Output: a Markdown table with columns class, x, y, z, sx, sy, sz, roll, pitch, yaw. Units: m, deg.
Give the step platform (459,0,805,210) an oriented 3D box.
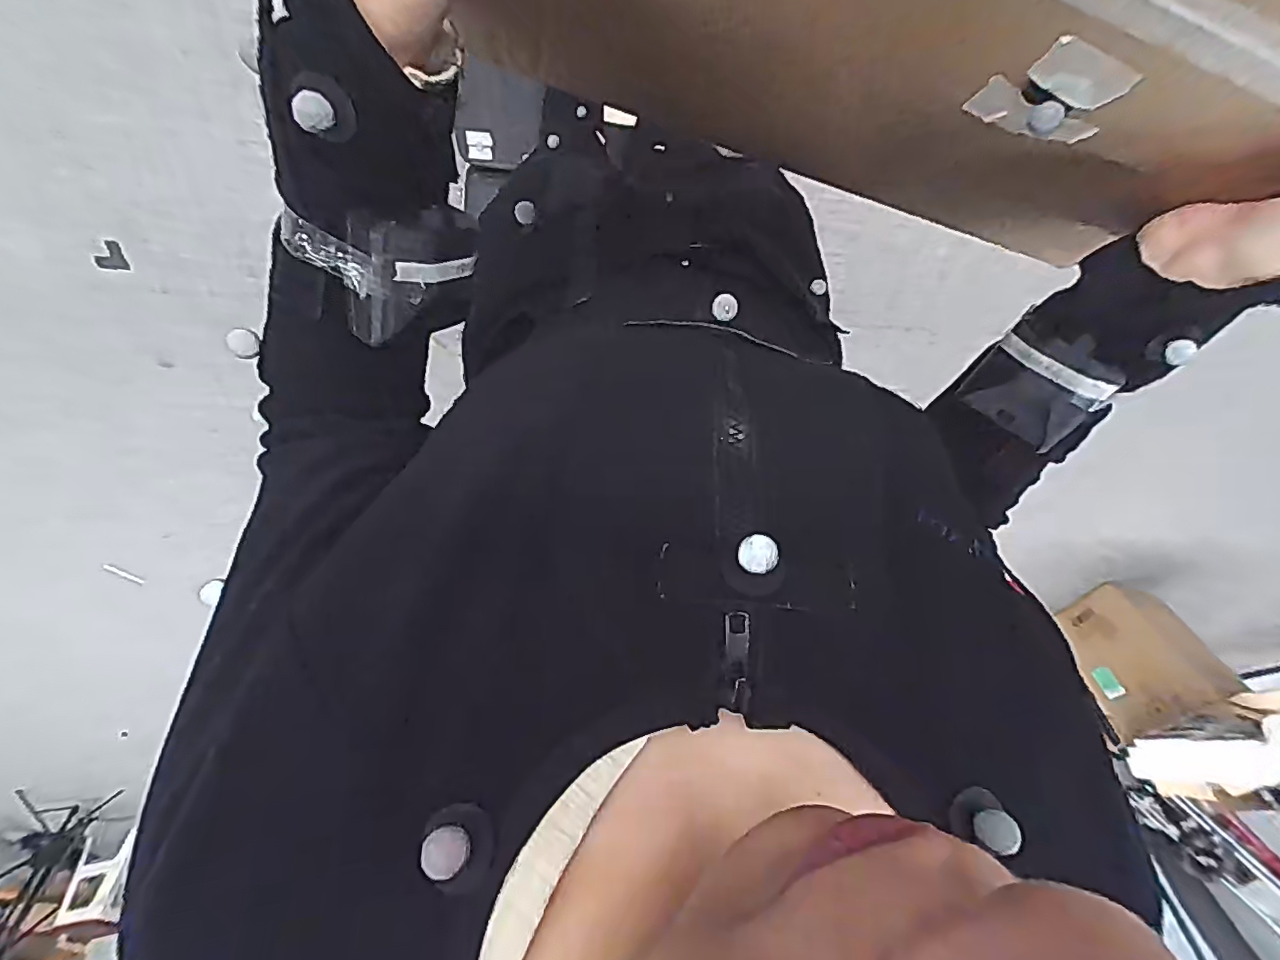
| class | x | y | z | sx | sy | sz | roll | pitch | yaw |
| --- | --- | --- | --- | --- | --- | --- | --- | --- | --- |
| step platform | -0.006 | -0.771 | 1.089 | 0.684 | 0.204 | 0.286 | 5 | 130 | -14 |
